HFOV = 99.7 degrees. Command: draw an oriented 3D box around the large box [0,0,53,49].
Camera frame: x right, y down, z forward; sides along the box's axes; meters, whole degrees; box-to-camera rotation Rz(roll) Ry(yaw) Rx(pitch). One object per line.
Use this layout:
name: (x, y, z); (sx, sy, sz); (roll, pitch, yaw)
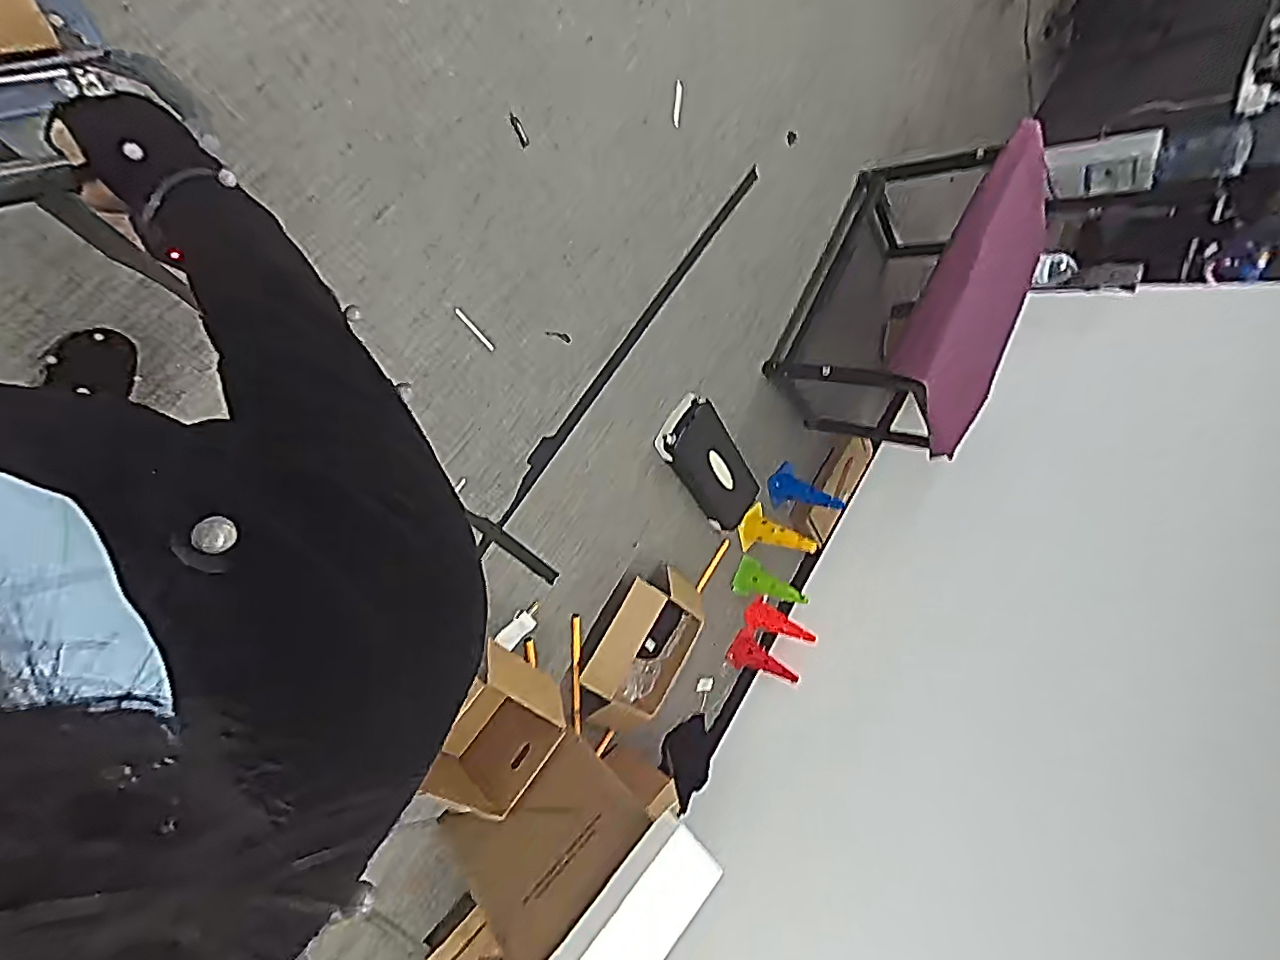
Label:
large box: (-0.970, -0.613, 0.544); (0.408, 0.320, 0.320); (-38, 141, -31)
